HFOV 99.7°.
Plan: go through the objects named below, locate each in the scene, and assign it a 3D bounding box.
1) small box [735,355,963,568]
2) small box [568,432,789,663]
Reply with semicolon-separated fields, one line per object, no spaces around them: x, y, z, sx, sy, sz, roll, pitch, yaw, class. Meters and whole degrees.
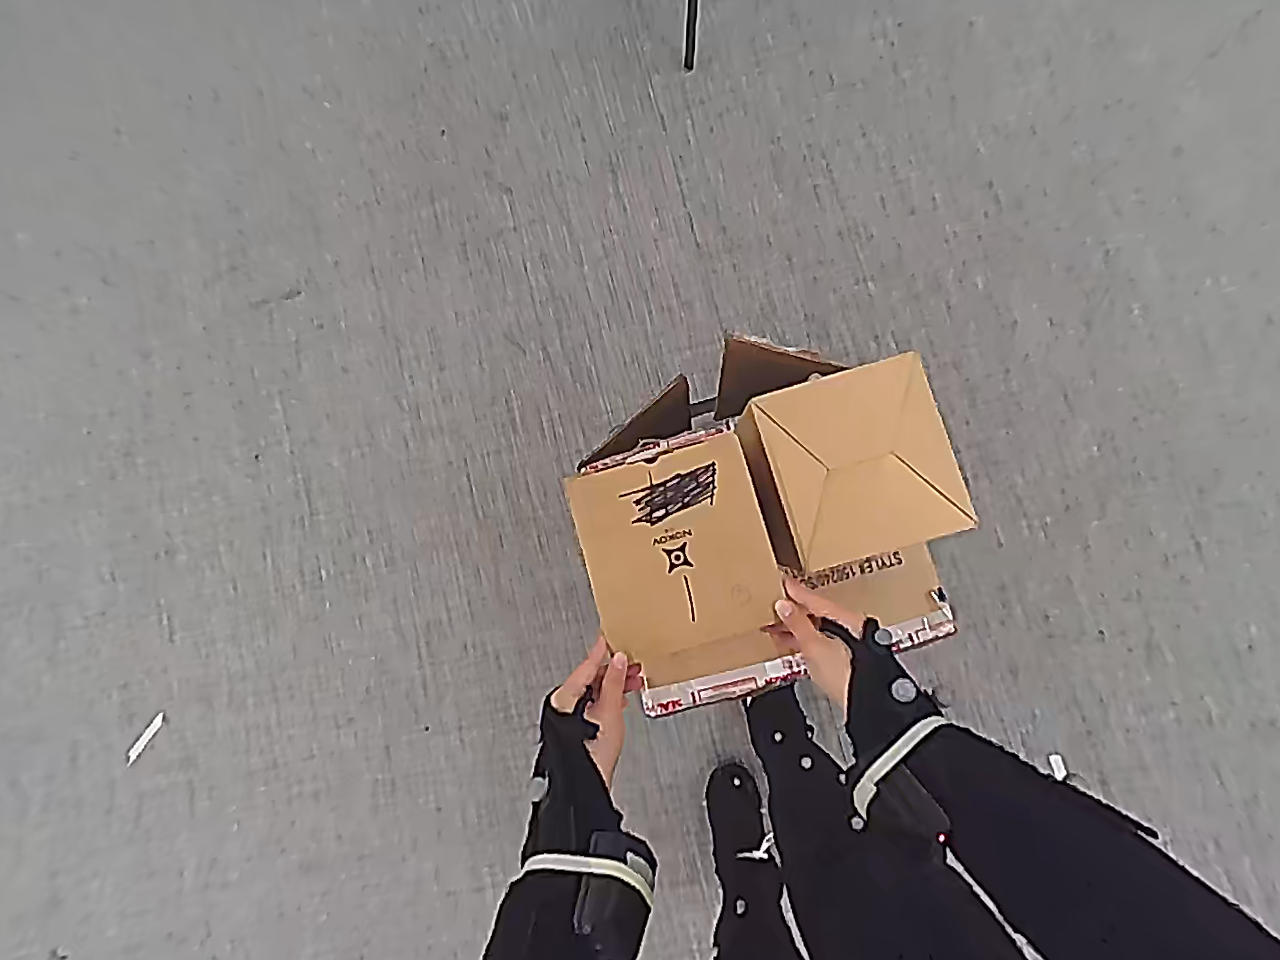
0.211;-0.010;0.585;0.168;0.176;0.179;-16;84;2;small box
0.033;0.067;0.562;0.168;0.176;0.179;-16;85;0;small box
